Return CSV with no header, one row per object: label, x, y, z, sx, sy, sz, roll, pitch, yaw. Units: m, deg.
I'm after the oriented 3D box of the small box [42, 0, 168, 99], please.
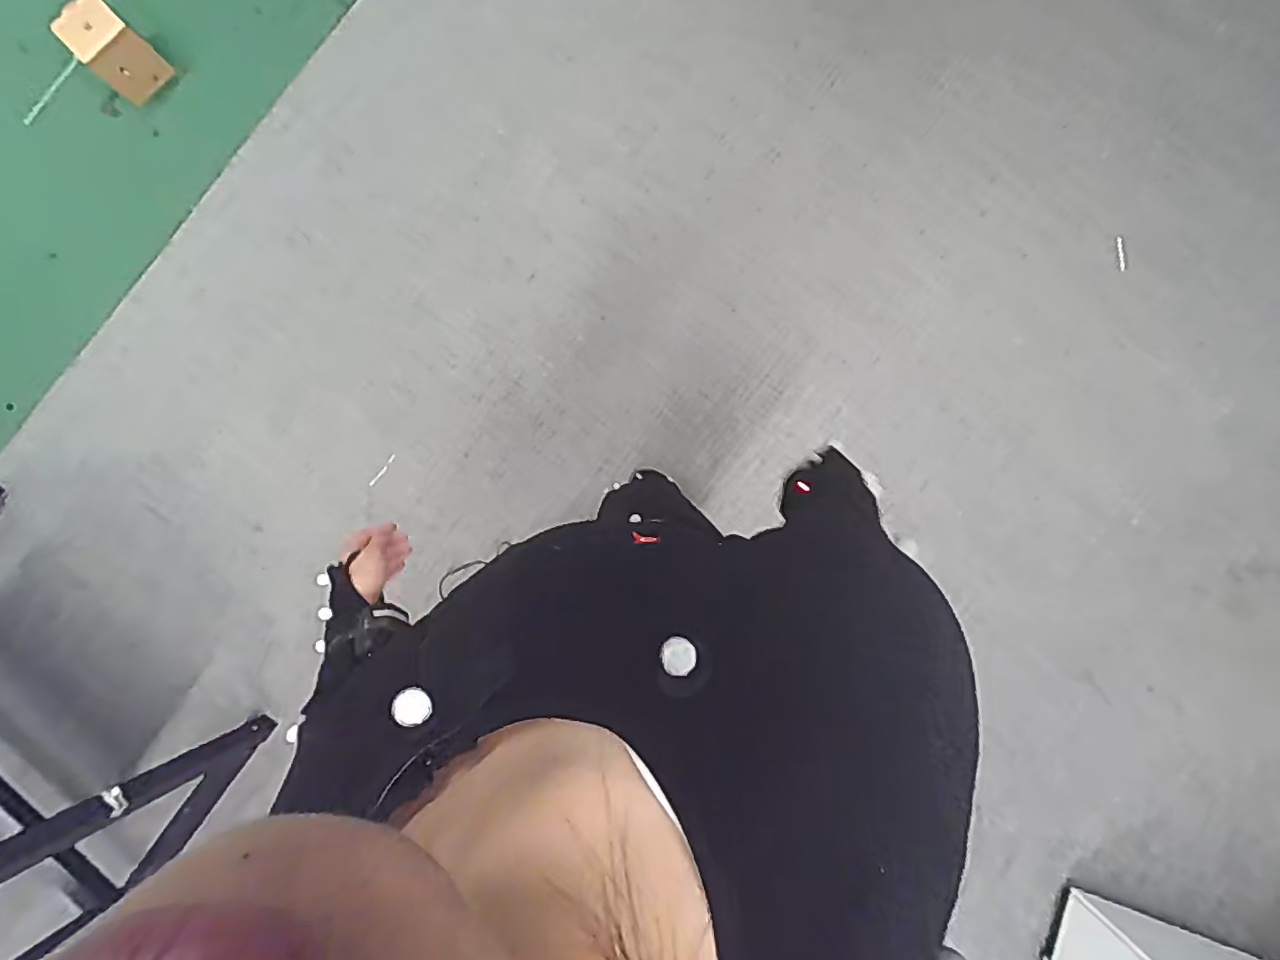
small box,-1.583,-1.291,1.613,0.179,0.176,0.168,44,89,5
